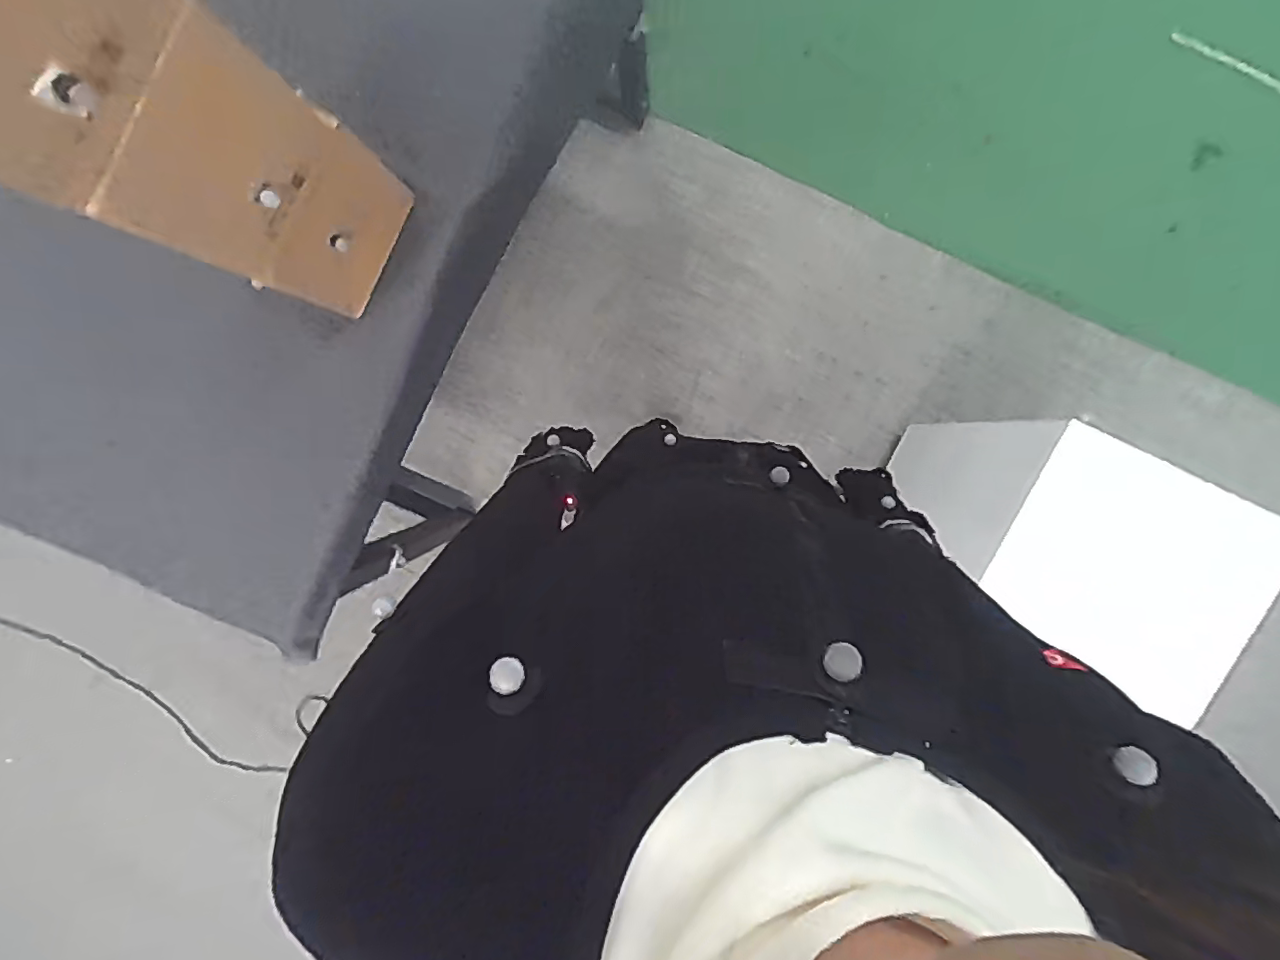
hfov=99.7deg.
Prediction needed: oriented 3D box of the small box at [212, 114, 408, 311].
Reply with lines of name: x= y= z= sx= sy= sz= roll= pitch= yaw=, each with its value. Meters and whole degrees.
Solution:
small box: x=-0.399 y=-0.317 z=0.616 sx=0.168 sy=0.176 sz=0.179 roll=28 pitch=97 yaw=1

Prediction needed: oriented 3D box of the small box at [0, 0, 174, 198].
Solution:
small box: x=-0.426 y=-0.291 z=0.292 sx=0.179 sy=0.176 sz=0.168 roll=30 pitch=97 yaw=0

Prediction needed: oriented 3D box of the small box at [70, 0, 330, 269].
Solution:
small box: x=-0.414 y=-0.305 z=0.453 sx=0.179 sy=0.176 sz=0.168 roll=28 pitch=96 yaw=3
